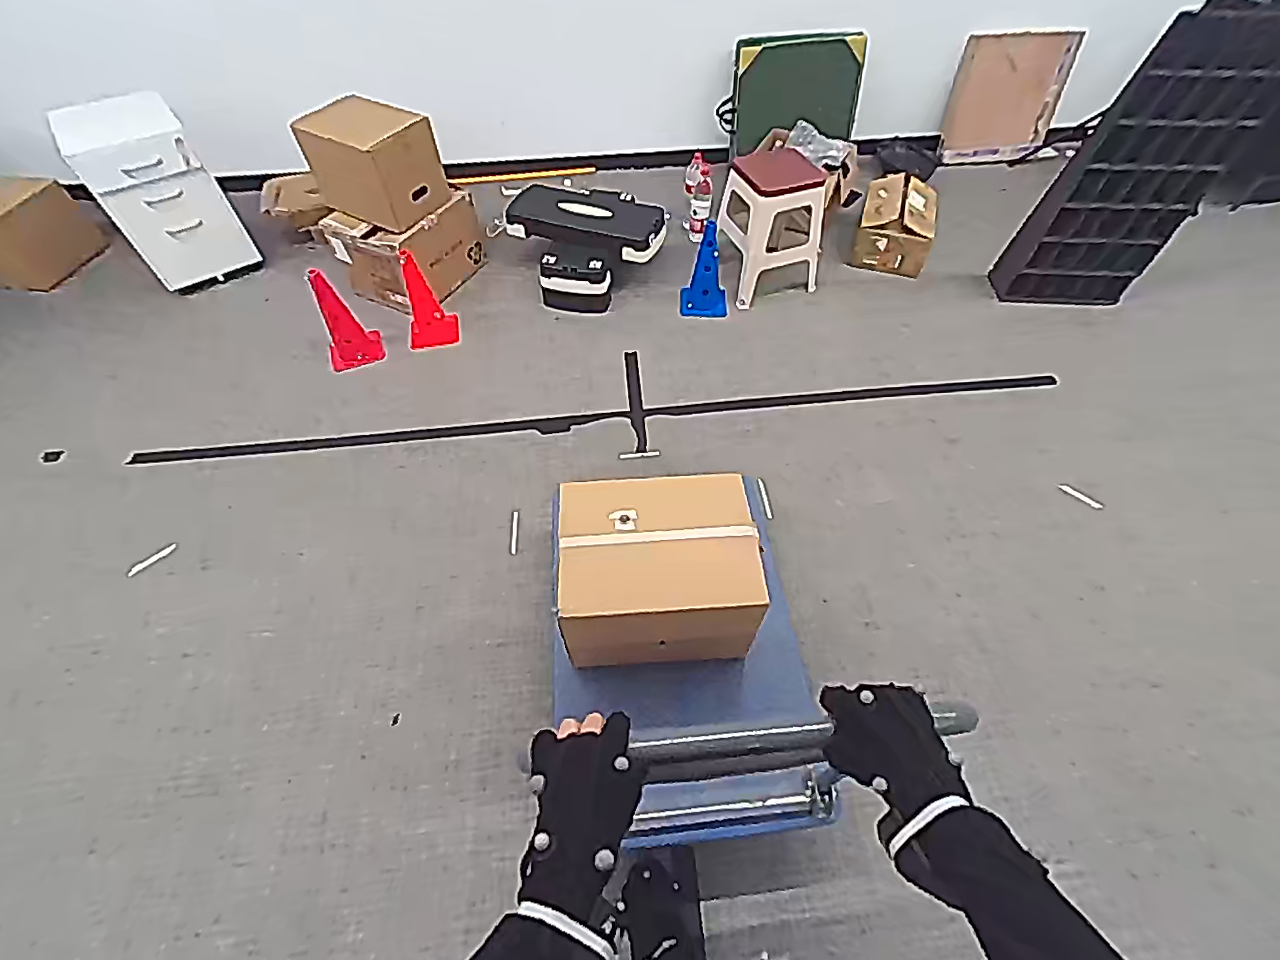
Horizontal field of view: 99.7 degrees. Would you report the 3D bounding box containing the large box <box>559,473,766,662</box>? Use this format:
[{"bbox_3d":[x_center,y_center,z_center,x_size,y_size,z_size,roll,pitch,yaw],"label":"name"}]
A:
[{"bbox_3d":[0.038,0.207,1.232,0.408,0.320,0.320,-4,54,-1],"label":"large box"}]
